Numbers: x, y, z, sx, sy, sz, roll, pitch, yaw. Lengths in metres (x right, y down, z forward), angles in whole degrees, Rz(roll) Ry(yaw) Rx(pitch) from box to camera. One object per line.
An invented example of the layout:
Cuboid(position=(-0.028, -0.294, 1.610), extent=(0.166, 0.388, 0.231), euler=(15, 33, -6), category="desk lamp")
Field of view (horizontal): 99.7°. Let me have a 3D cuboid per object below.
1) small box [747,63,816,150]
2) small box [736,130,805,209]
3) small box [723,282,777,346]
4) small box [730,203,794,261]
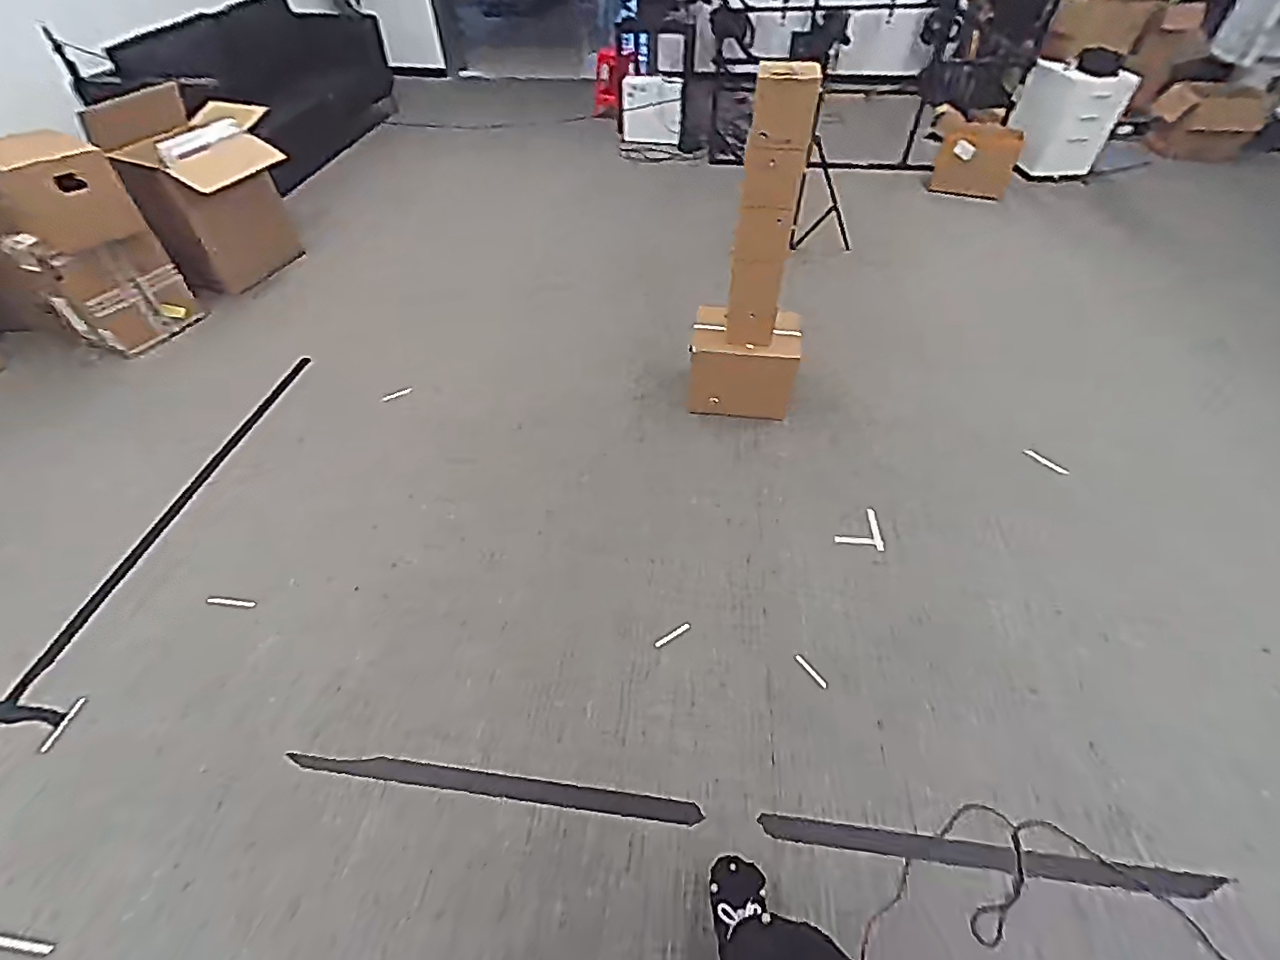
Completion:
Cuboid(position=(0.396, -1.053, 1.527), extent=(0.168, 0.176, 0.179), euler=(7, 49, 7), category="small box")
Cuboid(position=(0.396, -0.945, 1.650), extent=(0.179, 0.176, 0.168), euler=(7, 50, 7), category="small box")
Cuboid(position=(0.404, -0.619, 2.017), extent=(0.179, 0.176, 0.168), euler=(5, 50, 4), category="small box")
Cuboid(position=(0.398, -0.838, 1.771), extent=(0.179, 0.176, 0.168), euler=(7, 49, 7), category="small box")
